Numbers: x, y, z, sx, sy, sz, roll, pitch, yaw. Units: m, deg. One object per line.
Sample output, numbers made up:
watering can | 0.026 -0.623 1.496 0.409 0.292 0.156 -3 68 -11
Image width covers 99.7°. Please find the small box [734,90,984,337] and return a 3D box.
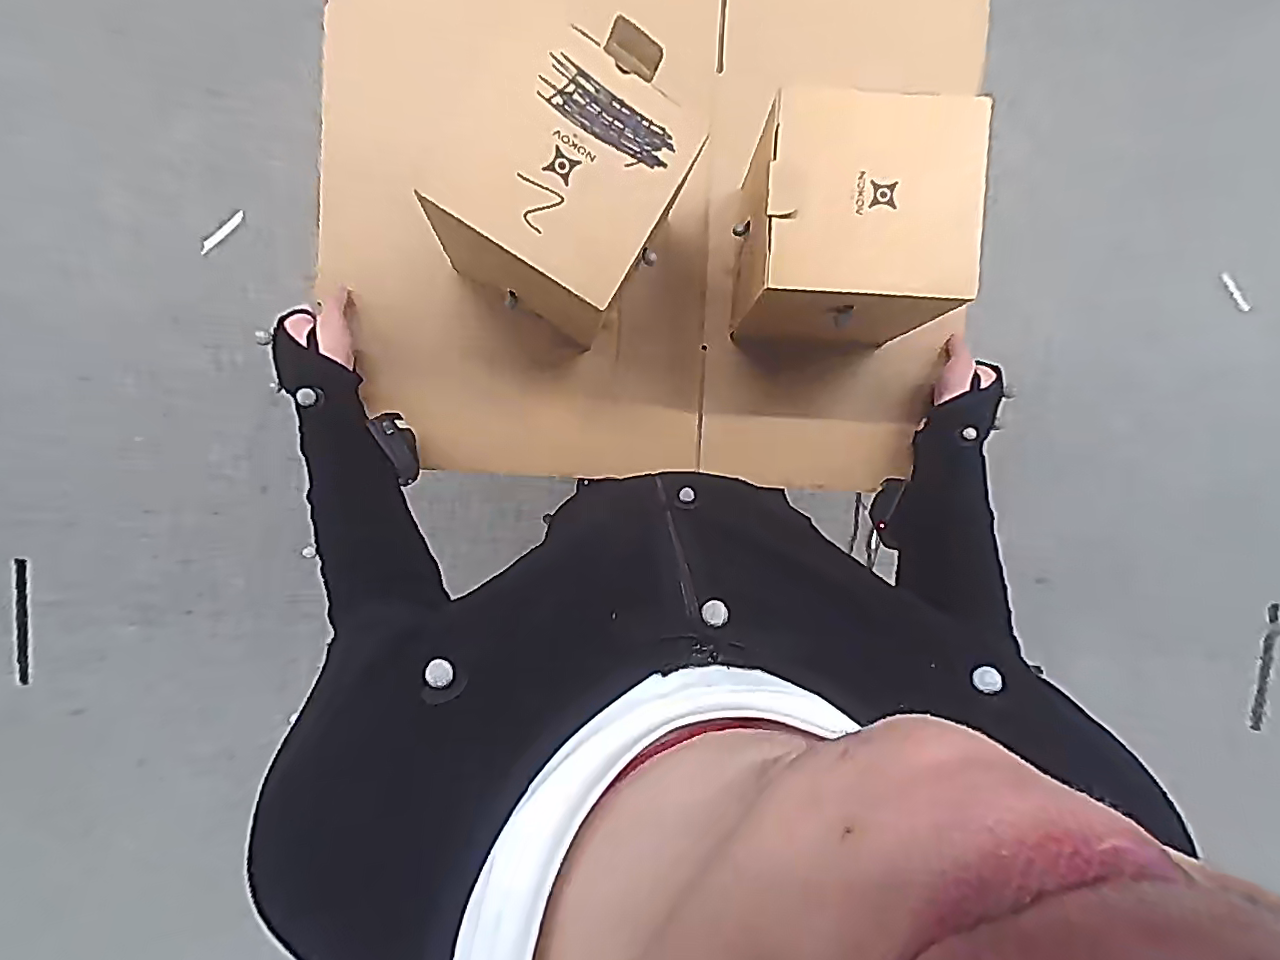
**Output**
small box | 0.199 -0.244 0.537 0.179 0.176 0.168 3 92 0
